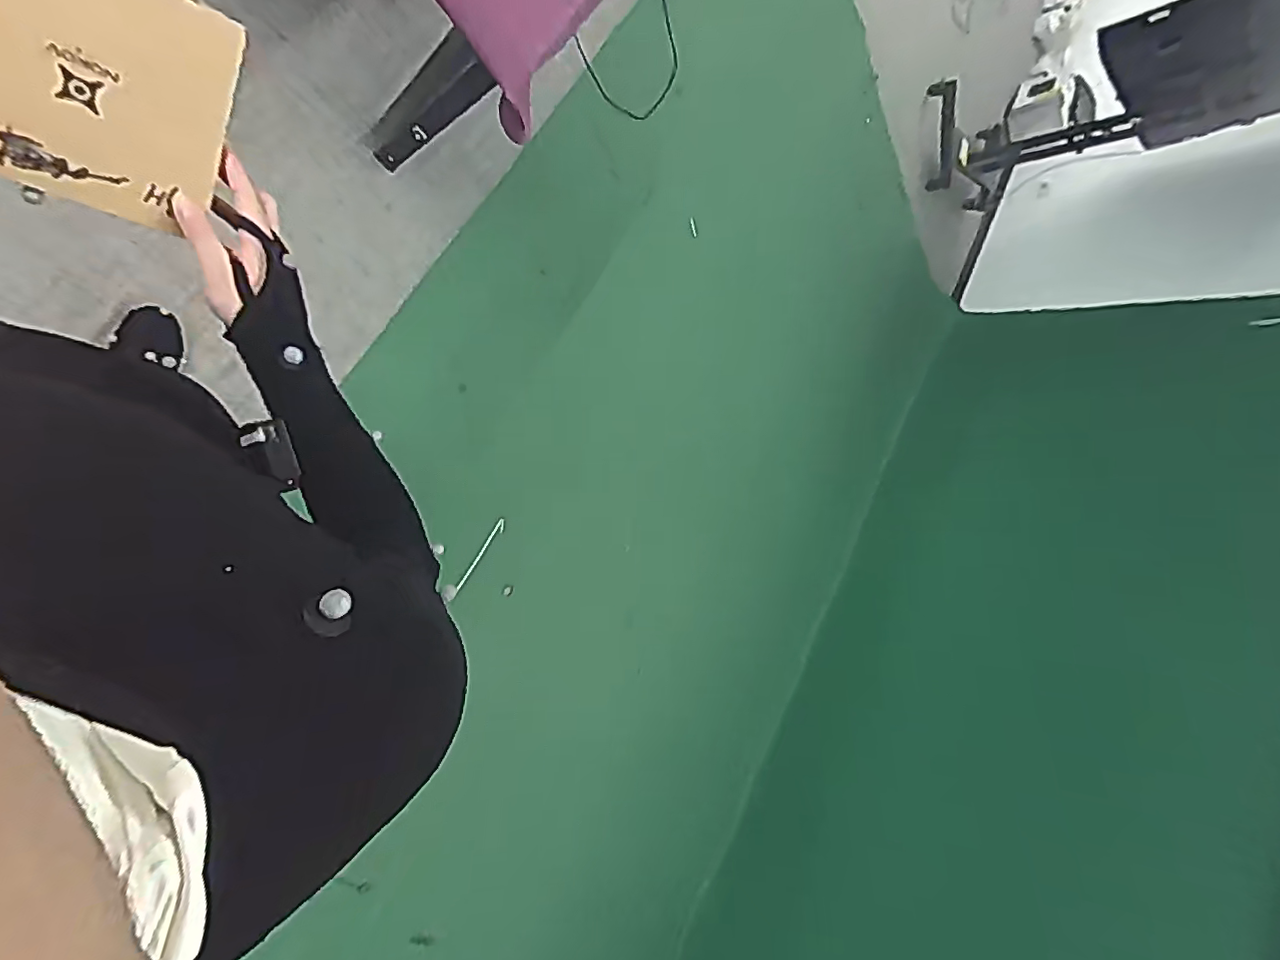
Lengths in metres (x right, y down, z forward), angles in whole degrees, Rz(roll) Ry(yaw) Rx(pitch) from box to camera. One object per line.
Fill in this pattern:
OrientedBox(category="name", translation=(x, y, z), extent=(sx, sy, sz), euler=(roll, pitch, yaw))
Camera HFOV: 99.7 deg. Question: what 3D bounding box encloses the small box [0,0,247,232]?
OrientedBox(category="small box", translation=(-0.447, -0.335, 0.436), extent=(0.168, 0.176, 0.179), euler=(9, 112, -47))
